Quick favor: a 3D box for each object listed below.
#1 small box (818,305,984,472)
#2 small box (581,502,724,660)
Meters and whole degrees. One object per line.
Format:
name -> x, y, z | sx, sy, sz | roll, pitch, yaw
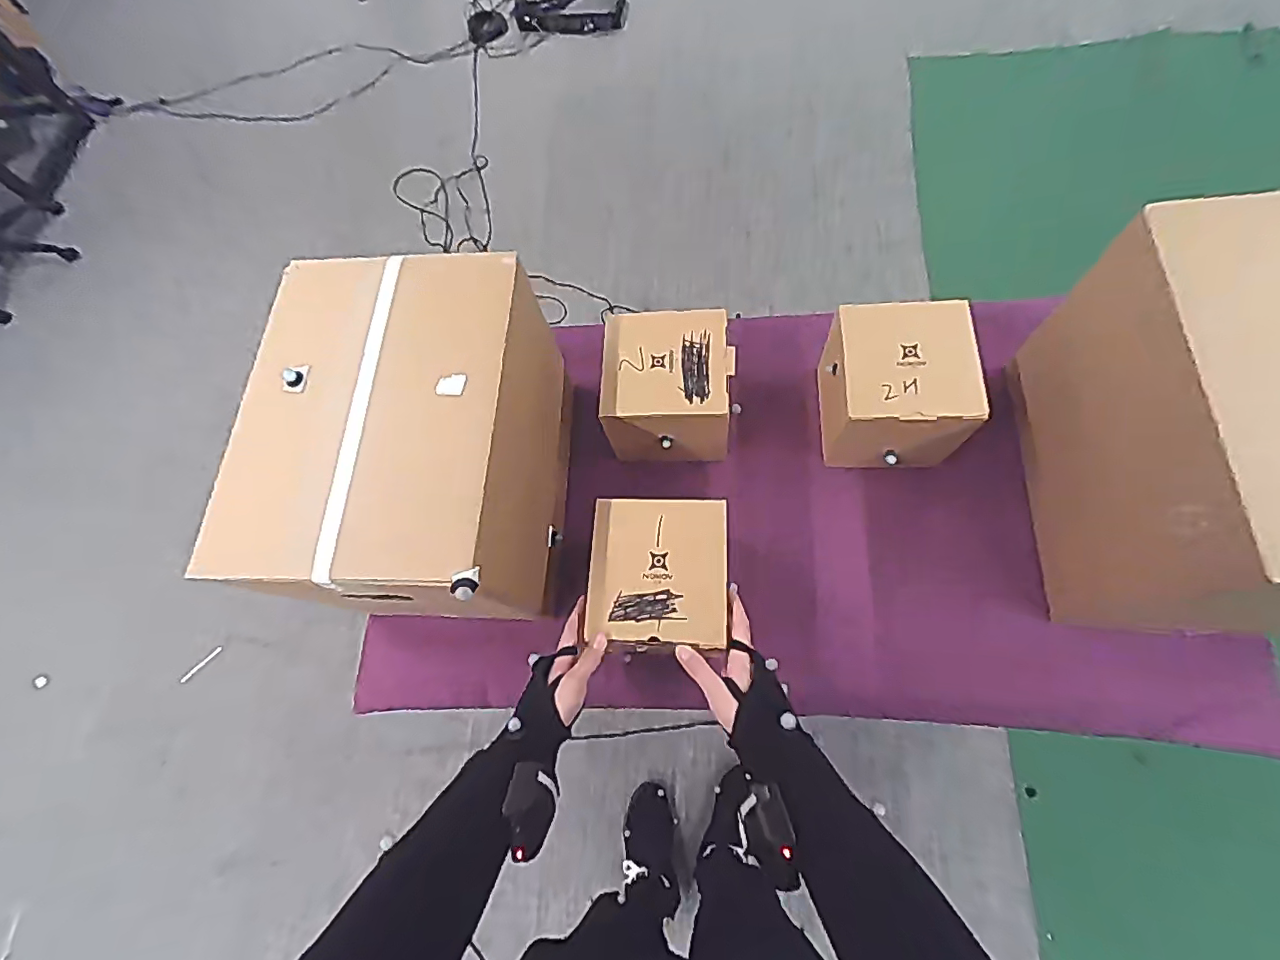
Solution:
small box -> 0.353, -0.124, 0.769 | 0.168, 0.176, 0.179 | 0, 70, 9
small box -> 0.027, 0.139, 0.712 | 0.168, 0.176, 0.179 | 0, 67, 7
